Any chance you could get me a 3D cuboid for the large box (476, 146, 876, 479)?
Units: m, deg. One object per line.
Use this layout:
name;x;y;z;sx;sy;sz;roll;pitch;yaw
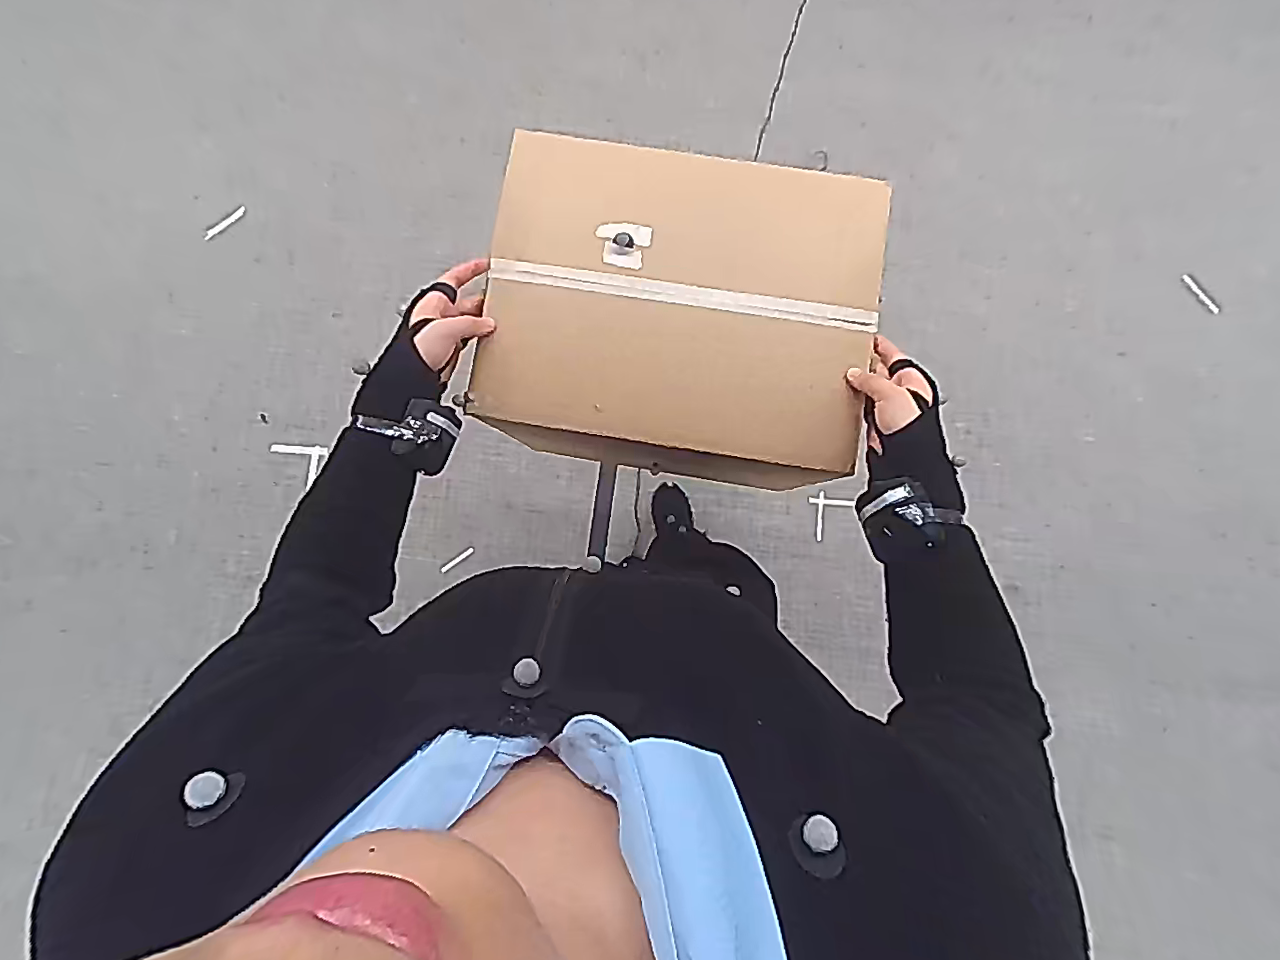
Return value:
large box;0.046;-0.183;0.725;0.408;0.320;0.320;8;85;2
